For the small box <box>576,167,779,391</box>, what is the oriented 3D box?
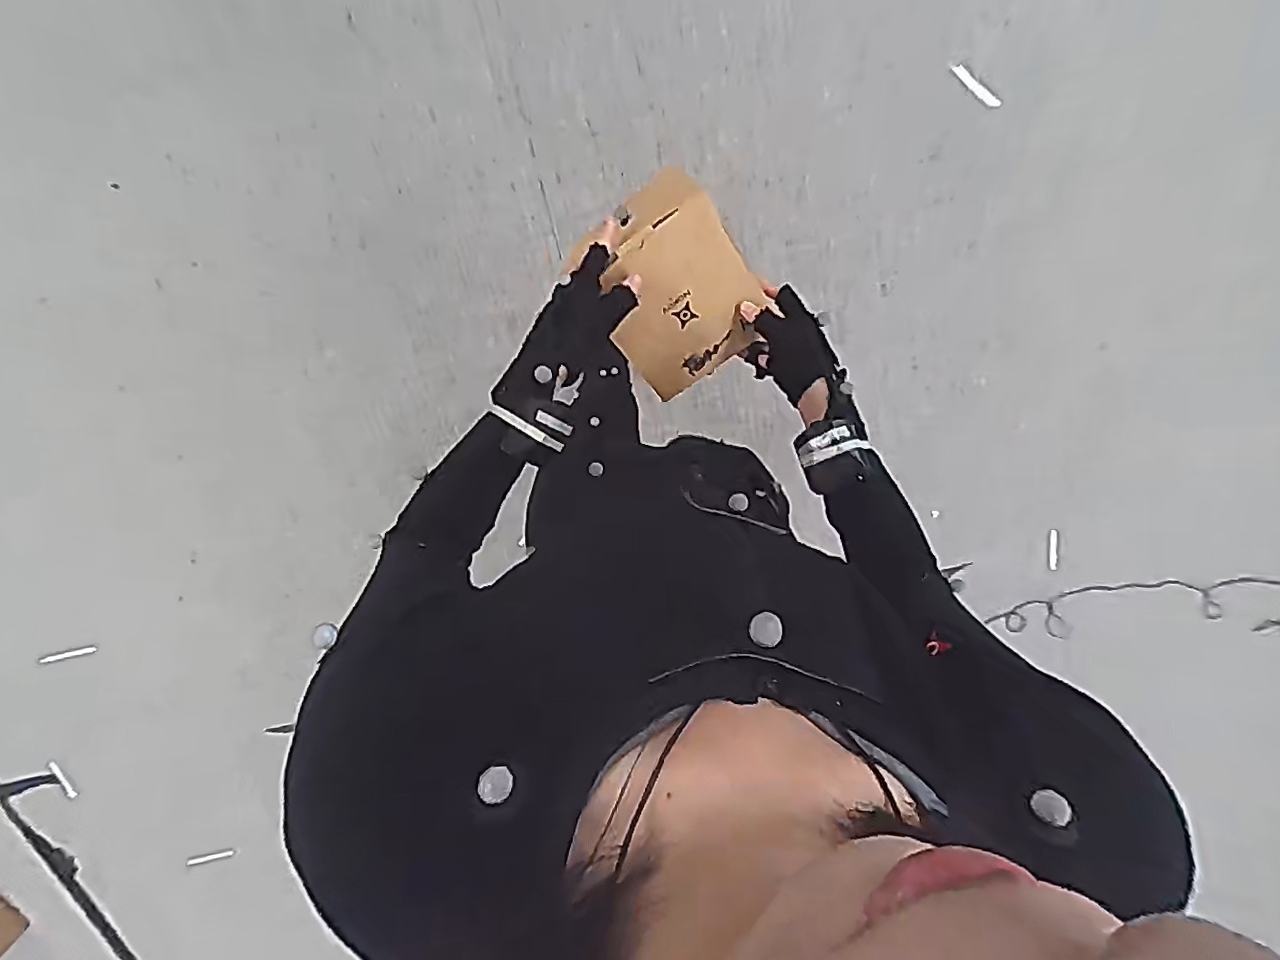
[{"bbox_3d":[0.036,-0.247,0.652,0.168,0.176,0.179,-32,125,15],"label":"small box"}]
